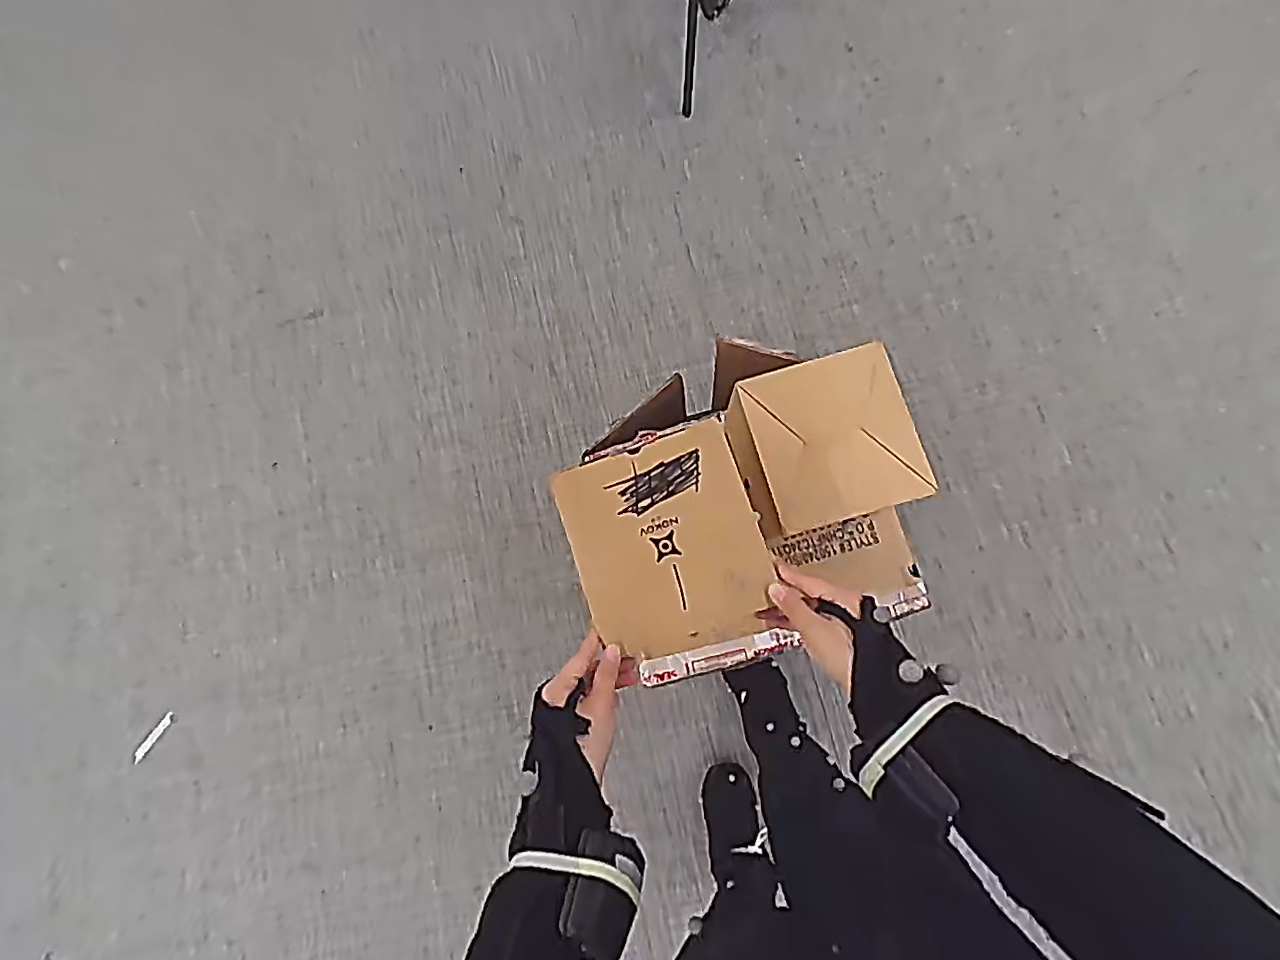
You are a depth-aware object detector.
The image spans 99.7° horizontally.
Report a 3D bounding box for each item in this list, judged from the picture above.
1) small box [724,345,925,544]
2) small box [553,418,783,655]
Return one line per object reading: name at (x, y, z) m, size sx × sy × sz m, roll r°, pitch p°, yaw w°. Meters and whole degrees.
small box at (0.210, -0.032, 0.650) m, size 0.168 × 0.176 × 0.179 m, roll -16°, pitch 80°, yaw 0°
small box at (0.026, 0.060, 0.558) m, size 0.168 × 0.176 × 0.179 m, roll -19°, pitch 81°, yaw 2°
